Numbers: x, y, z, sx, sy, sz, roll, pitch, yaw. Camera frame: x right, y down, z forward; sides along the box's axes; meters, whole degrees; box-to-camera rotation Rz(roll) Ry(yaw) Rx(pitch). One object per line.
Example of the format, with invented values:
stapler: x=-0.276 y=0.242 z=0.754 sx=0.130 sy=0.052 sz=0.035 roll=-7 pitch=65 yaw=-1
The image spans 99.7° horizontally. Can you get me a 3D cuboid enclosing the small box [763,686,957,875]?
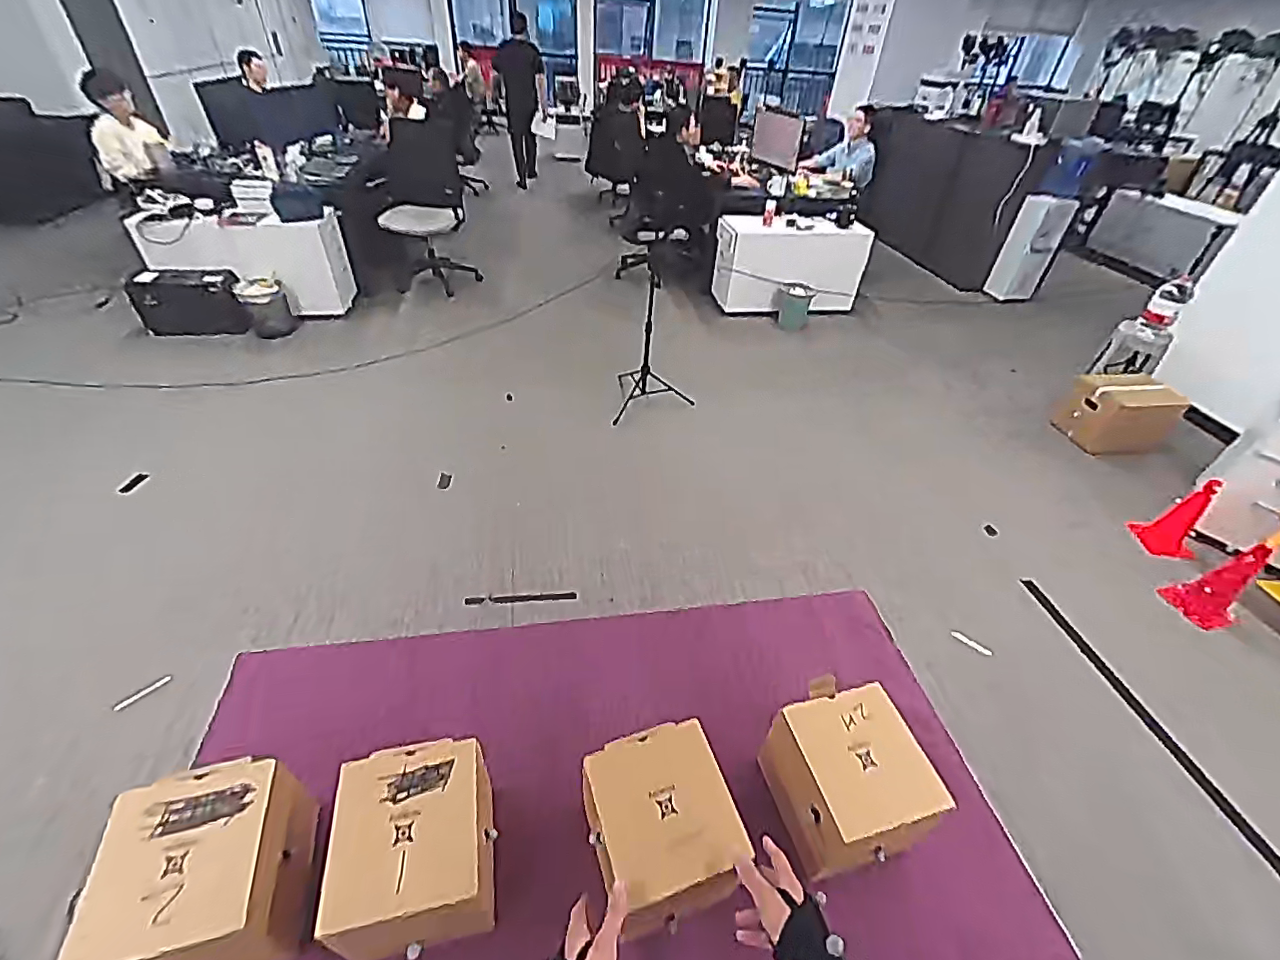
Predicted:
small box: x=0.295 y=0.429 z=0.769 sx=0.168 sy=0.176 sz=0.179 roll=-8 pitch=41 yaw=-14

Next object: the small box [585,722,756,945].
small box: x=0.026 y=0.461 z=0.712 sx=0.168 sy=0.176 sz=0.179 roll=-11 pitch=42 yaw=-16

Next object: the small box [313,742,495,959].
small box: x=-0.278 y=0.465 z=0.678 sx=0.168 sy=0.176 sz=0.179 roll=-6 pitch=42 yaw=-12
